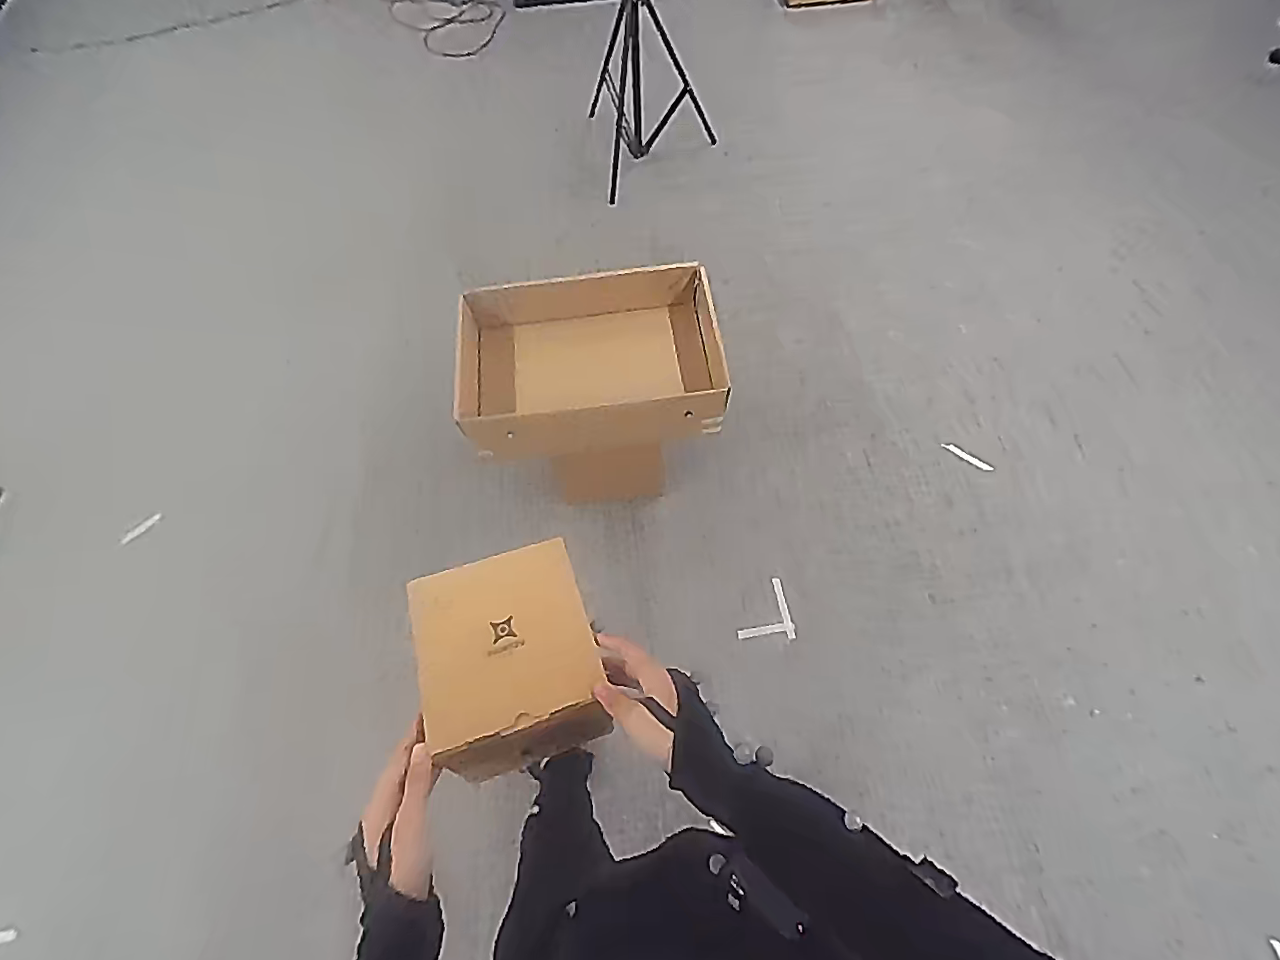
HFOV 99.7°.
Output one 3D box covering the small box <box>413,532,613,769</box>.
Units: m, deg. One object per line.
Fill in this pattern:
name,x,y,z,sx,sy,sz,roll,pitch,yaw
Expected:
small box,-0.134,0.187,0.589,0.168,0.176,0.179,-15,57,-13
